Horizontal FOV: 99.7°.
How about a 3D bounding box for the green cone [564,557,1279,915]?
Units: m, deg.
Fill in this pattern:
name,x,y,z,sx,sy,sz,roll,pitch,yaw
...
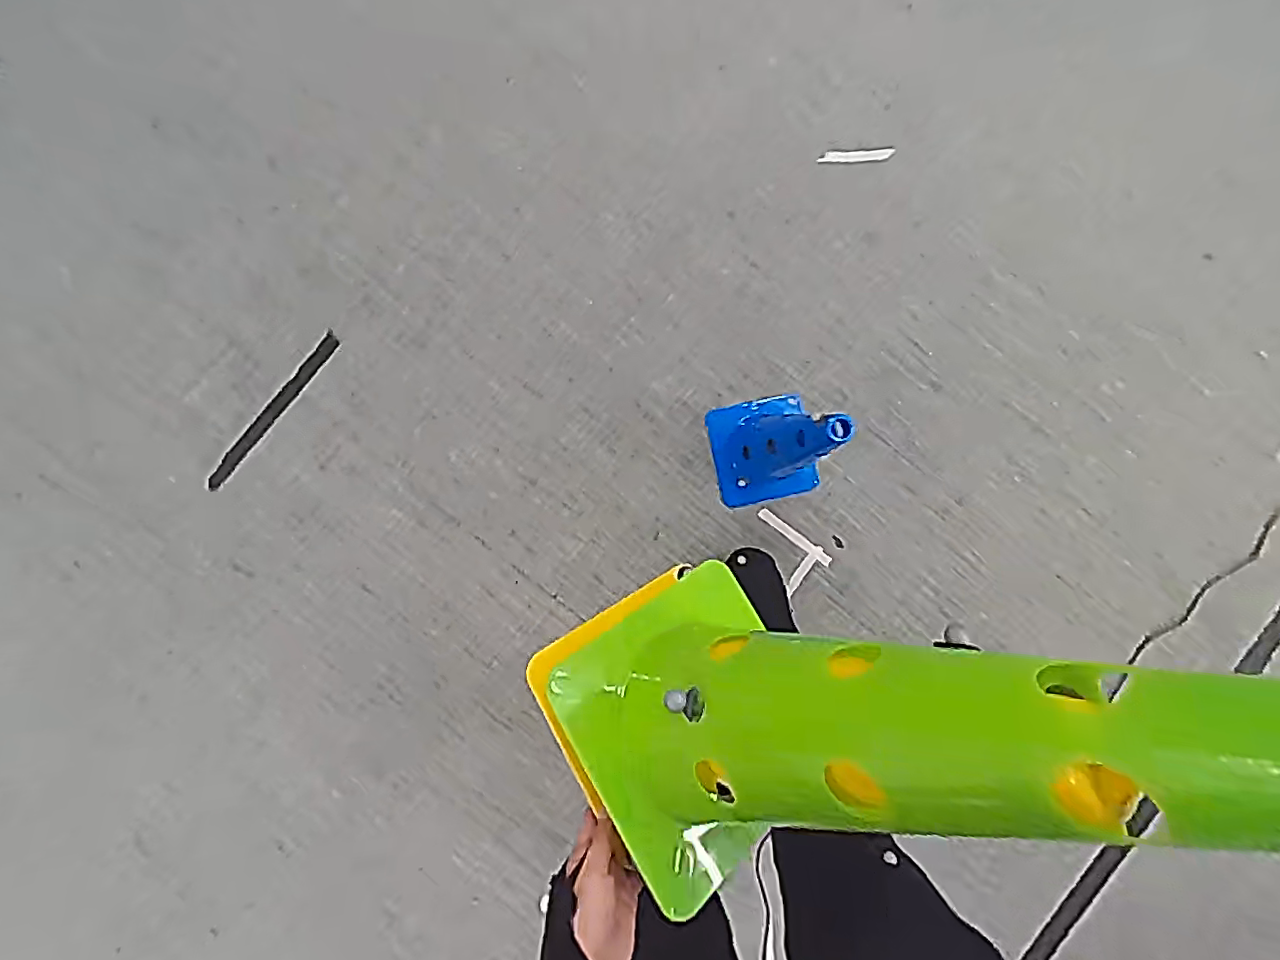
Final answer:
name,x,y,z,sx,sy,sz,roll,pitch,yaw
green cone,0.135,0.130,0.282,0.202,0.368,0.200,-27,85,-32
